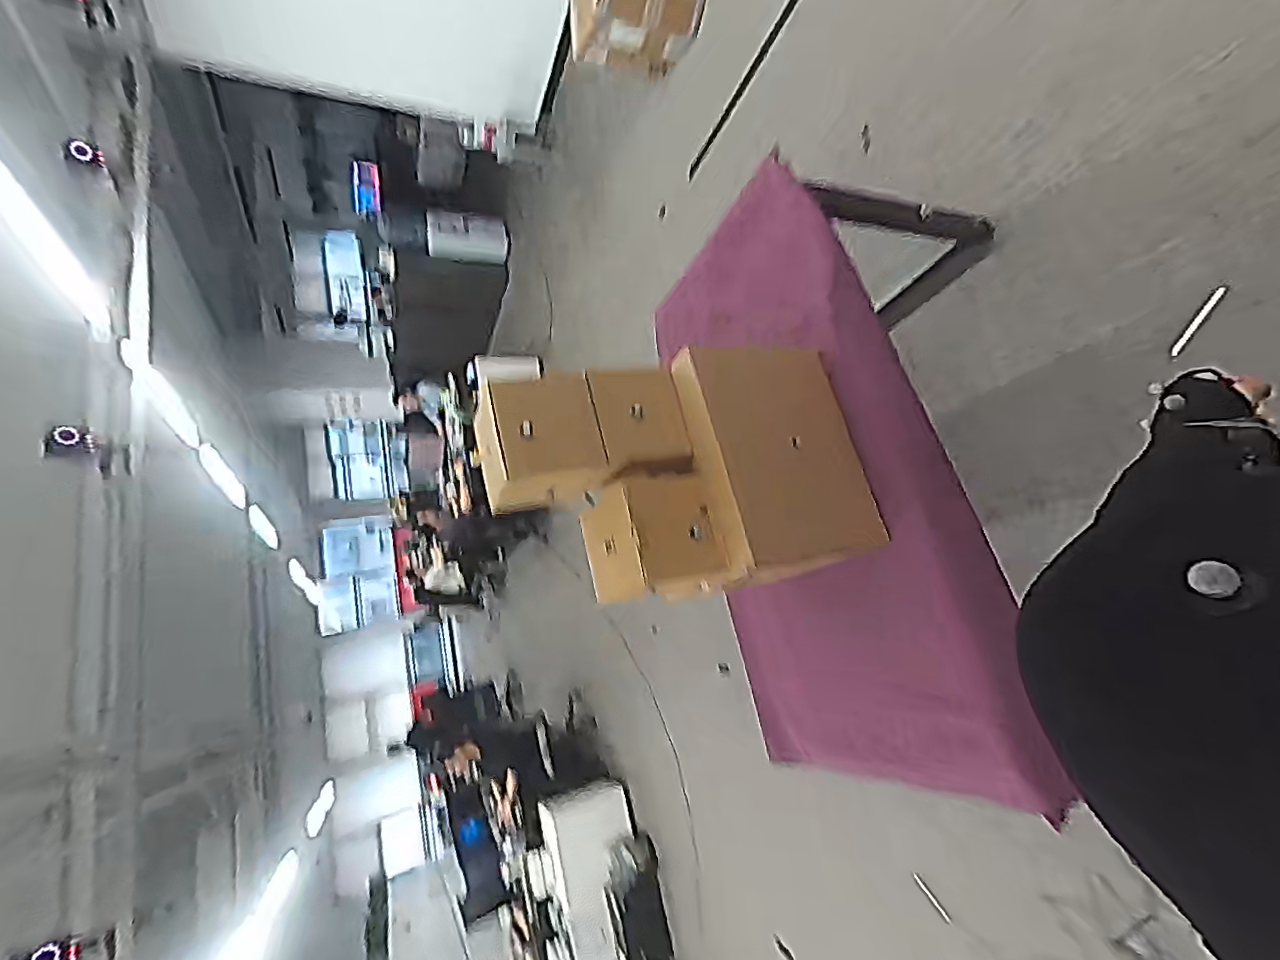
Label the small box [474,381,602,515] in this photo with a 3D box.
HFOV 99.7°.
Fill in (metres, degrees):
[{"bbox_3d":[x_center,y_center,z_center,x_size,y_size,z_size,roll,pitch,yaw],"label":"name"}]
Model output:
[{"bbox_3d":[-0.176,-0.056,0.922,0.168,0.176,0.179,-41,60,59],"label":"small box"}]
